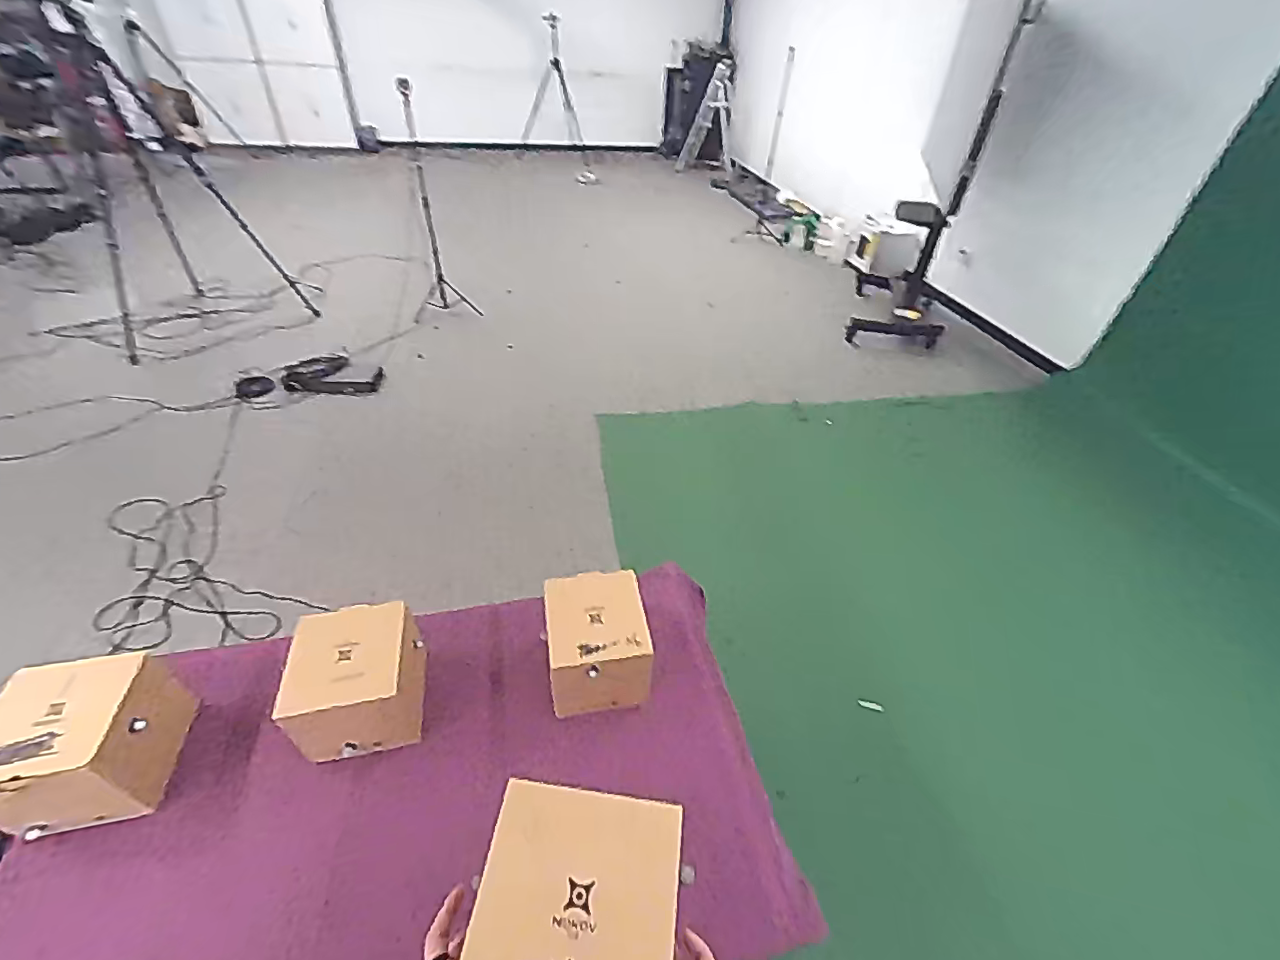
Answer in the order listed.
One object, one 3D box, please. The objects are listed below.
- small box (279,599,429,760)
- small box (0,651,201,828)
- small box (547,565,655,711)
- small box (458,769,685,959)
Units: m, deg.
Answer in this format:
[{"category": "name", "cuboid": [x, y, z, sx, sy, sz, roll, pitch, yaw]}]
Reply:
[{"category": "small box", "cuboid": [-0.453, 0.326, 0.892, 0.168, 0.176, 0.179, -8, 43, -11]}, {"category": "small box", "cuboid": [-0.802, 0.387, 0.801, 0.168, 0.176, 0.179, -7, 42, -11]}, {"category": "small box", "cuboid": [-0.074, 0.279, 0.963, 0.168, 0.176, 0.179, -7, 42, -9]}, {"category": "small box", "cuboid": [-0.055, 0.399, 0.500, 0.168, 0.176, 0.179, 7, 47, 5]}]
